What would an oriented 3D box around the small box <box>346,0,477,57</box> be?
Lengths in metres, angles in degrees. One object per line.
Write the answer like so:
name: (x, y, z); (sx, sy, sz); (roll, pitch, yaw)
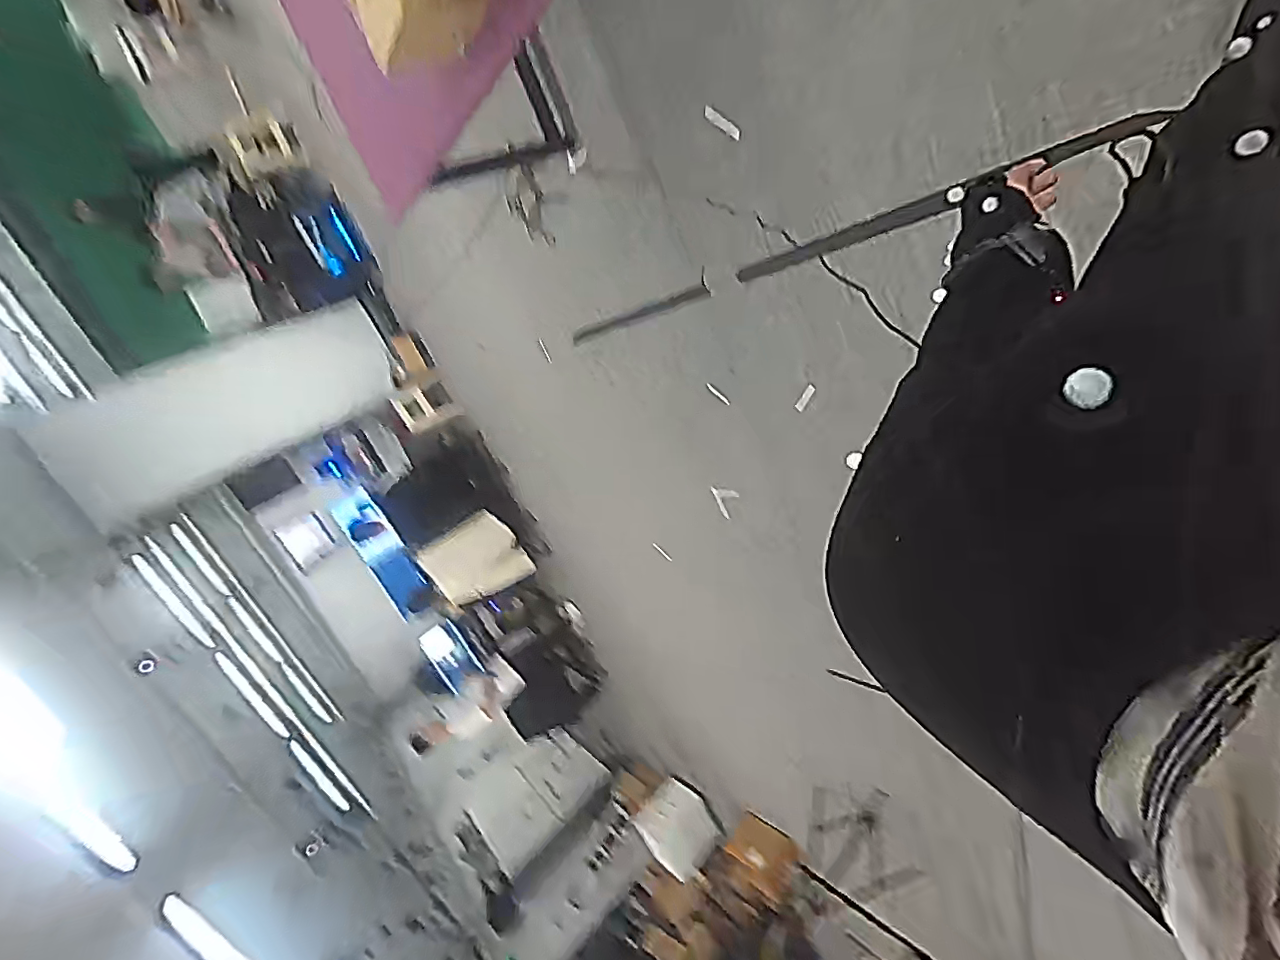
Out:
small box: (-0.399, -0.866, 0.914); (0.179, 0.176, 0.168); (5, 125, 53)
